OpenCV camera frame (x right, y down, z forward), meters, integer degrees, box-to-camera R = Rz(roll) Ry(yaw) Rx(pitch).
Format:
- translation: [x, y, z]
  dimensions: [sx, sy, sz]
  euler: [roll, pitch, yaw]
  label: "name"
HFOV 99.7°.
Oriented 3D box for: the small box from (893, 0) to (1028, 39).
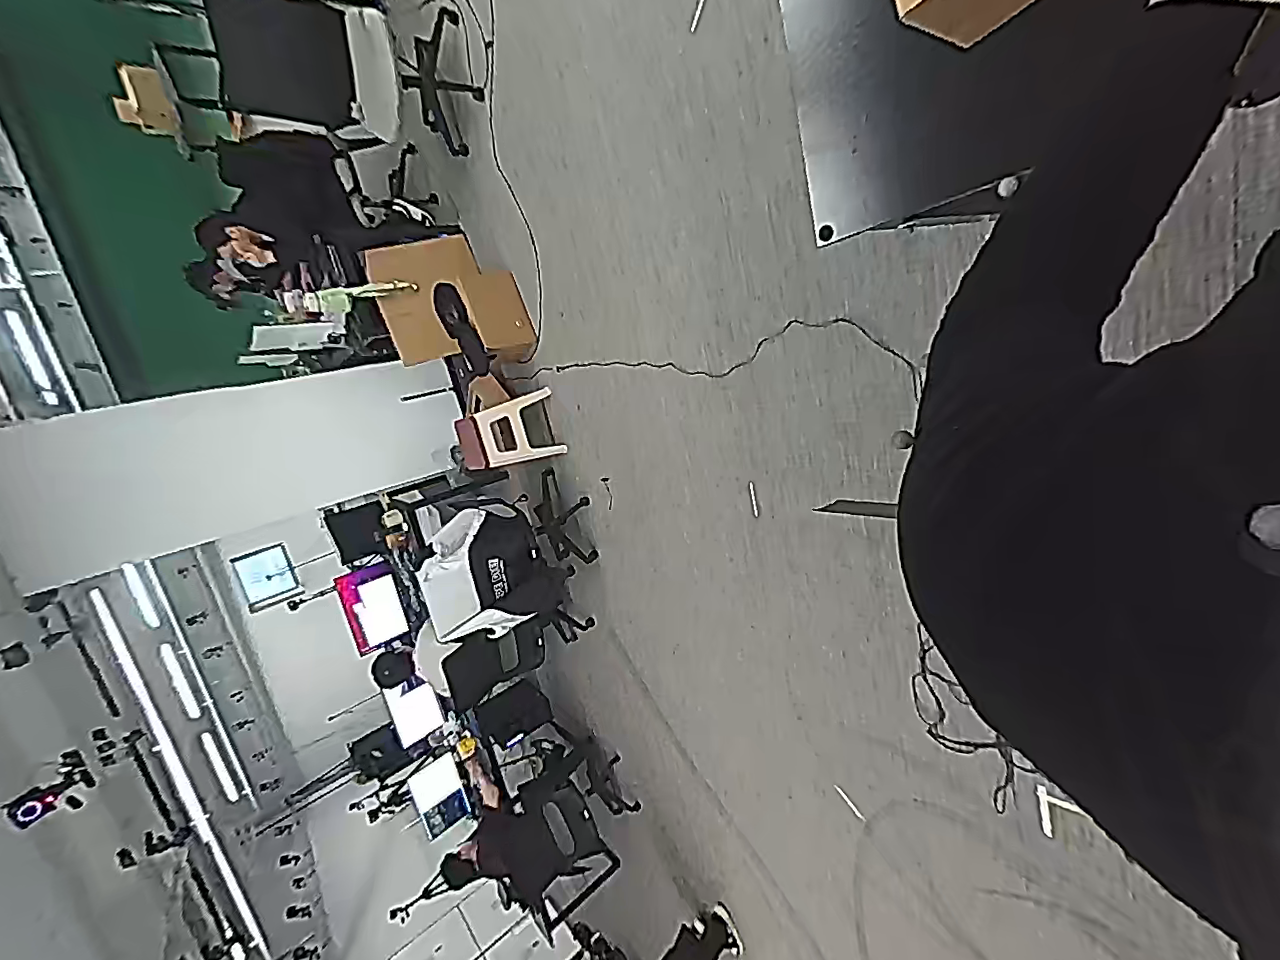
- translation: [0.339, -0.561, 0.498]
  dimensions: [0.179, 0.176, 0.168]
  euler: [-10, 100, 54]
  label: "small box"
